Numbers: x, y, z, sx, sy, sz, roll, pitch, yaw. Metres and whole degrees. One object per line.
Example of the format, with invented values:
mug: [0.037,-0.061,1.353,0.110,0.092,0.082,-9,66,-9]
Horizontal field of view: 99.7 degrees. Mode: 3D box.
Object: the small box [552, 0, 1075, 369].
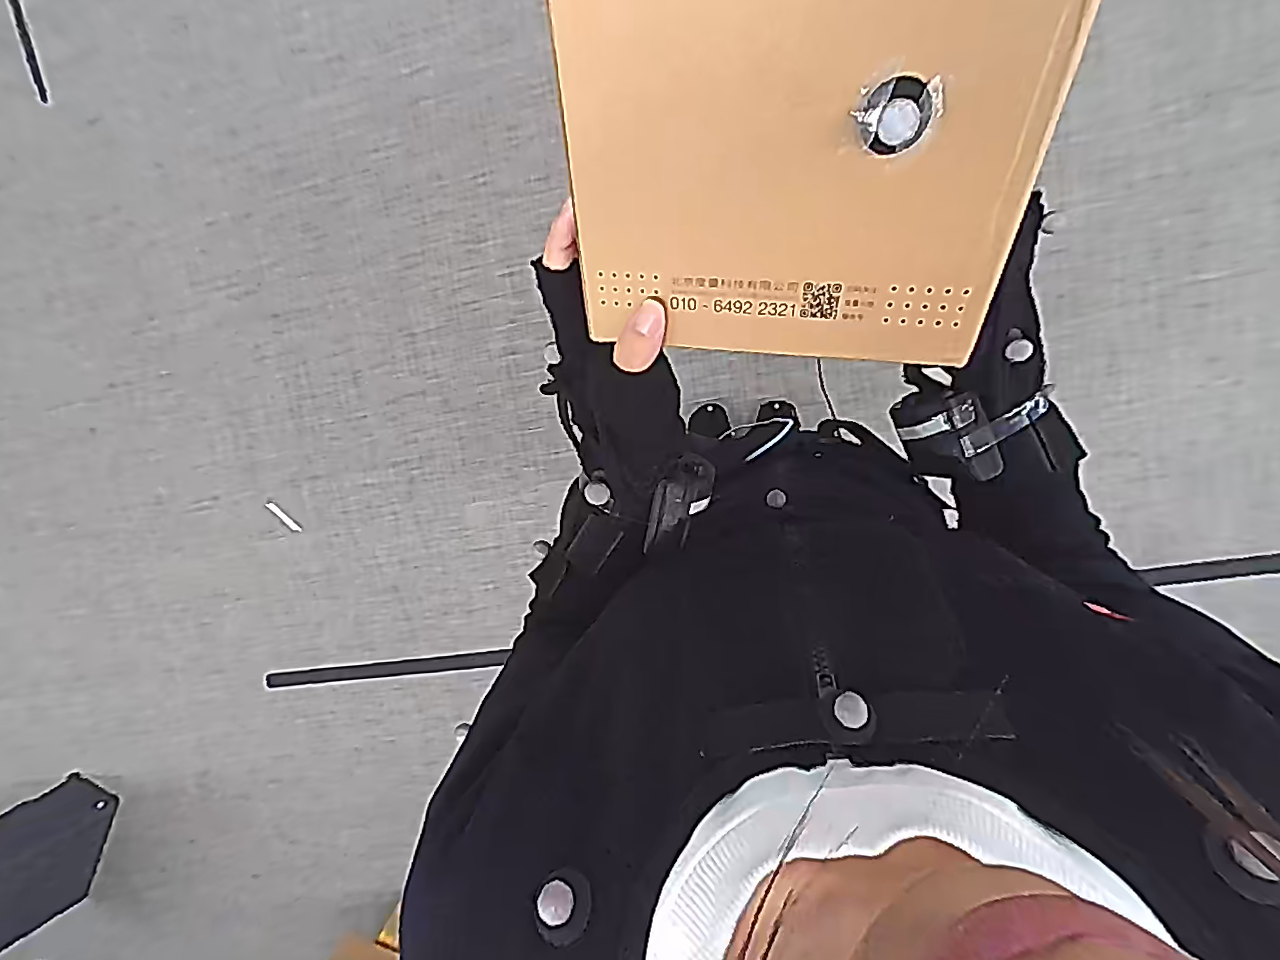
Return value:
small box: [0.076,-0.168,0.257,0.168,0.179,0.176,9,132,15]
